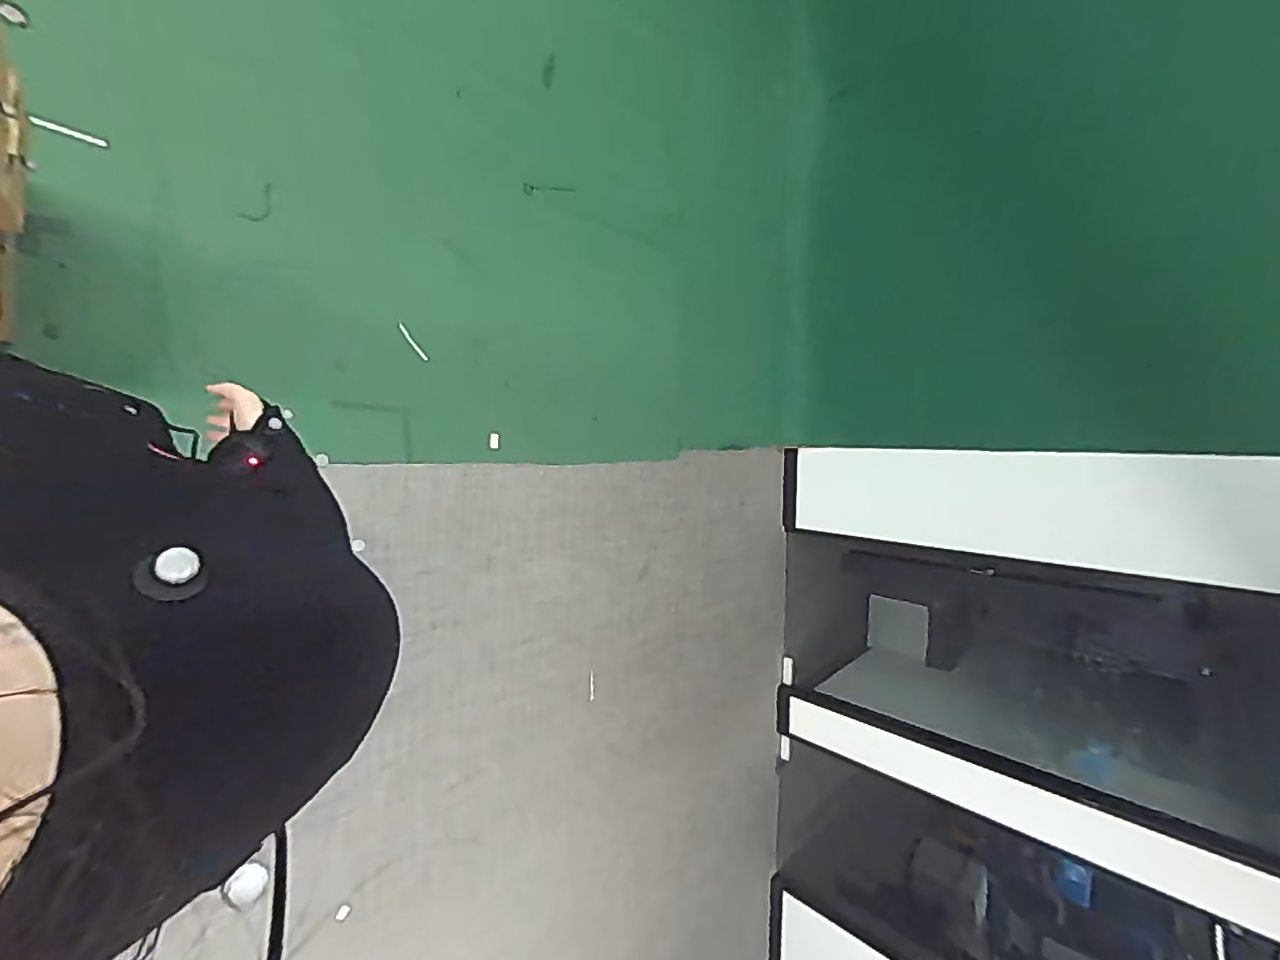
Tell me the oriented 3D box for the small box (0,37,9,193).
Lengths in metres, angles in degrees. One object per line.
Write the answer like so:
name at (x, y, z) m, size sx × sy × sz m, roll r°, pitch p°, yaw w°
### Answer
small box at (-0.784, -0.426, 0.553) m, size 0.168 × 0.176 × 0.179 m, roll 3°, pitch 92°, yaw -45°

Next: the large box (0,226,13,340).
large box at (-1.178, -0.392, 0.740) m, size 0.408 × 0.320 × 0.320 m, roll -2°, pitch 95°, yaw -47°

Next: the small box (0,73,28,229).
small box at (-0.902, -0.434, 0.671) m, size 0.179 × 0.176 × 0.168 m, roll 5°, pitch 89°, yaw -45°
